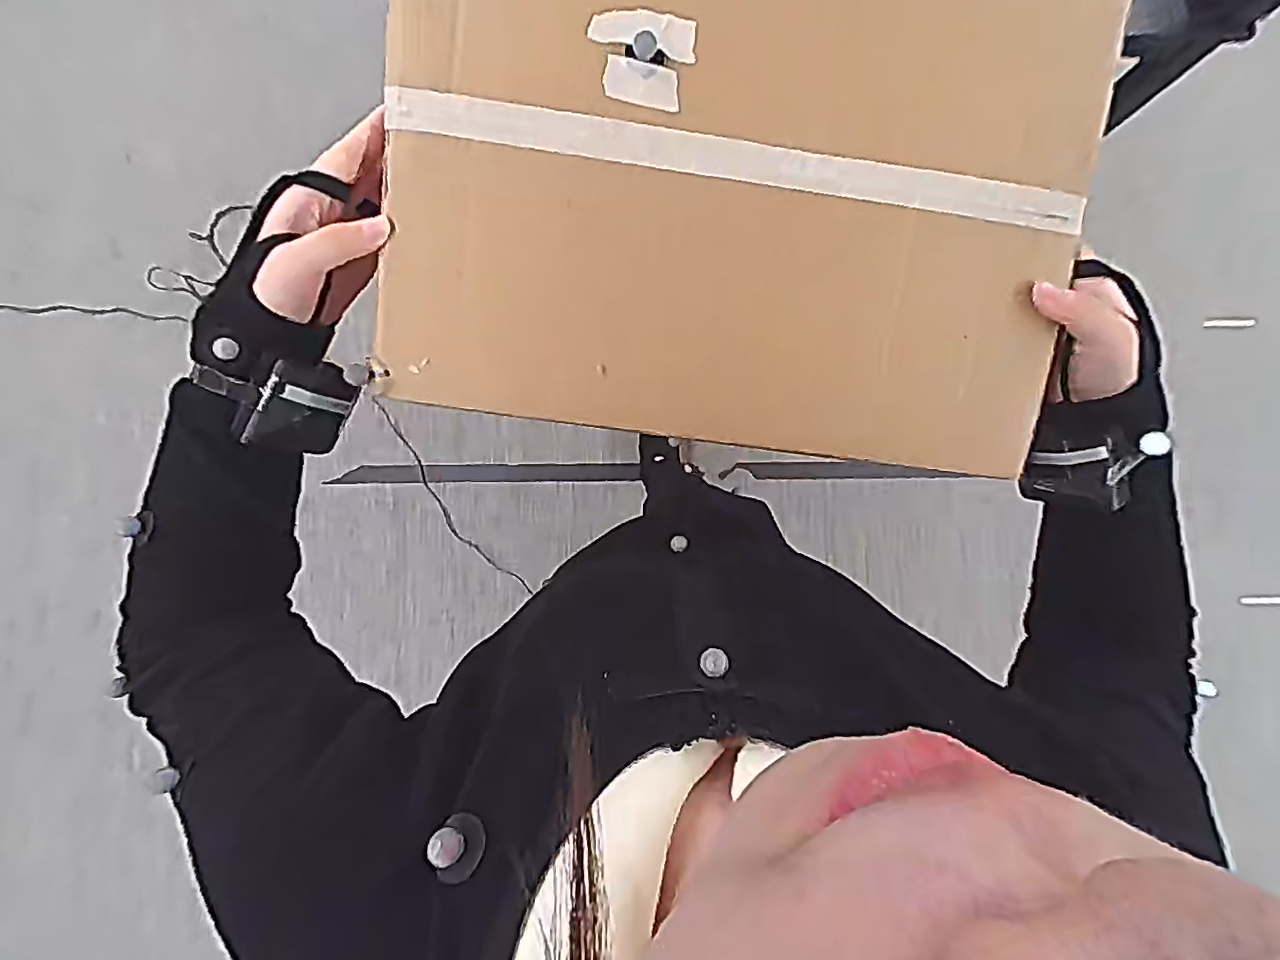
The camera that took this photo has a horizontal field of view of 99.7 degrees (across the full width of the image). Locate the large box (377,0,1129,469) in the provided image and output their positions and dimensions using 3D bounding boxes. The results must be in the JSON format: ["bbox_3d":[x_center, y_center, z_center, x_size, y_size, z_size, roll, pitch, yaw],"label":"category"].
[{"bbox_3d":[0.056,-0.200,0.452,0.408,0.320,0.320,7,97,-3],"label":"large box"}]
